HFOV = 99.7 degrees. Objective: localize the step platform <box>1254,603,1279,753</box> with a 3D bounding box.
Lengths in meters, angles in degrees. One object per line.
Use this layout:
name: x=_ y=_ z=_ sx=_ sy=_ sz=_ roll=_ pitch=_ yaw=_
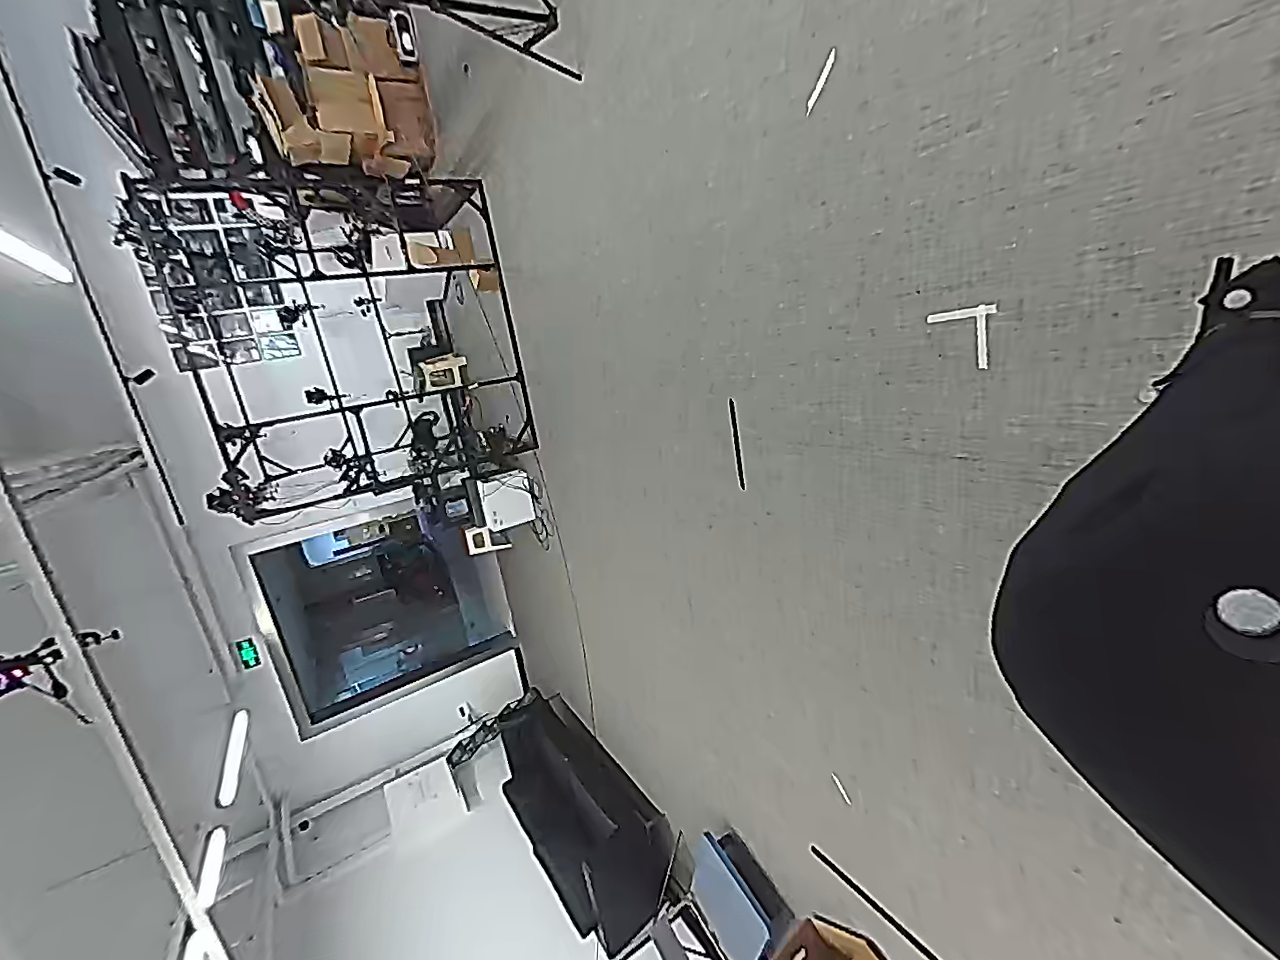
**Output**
step platform: x=1.347 y=0.378 z=0.731 sx=0.684 sy=0.204 sz=0.286 roll=14 pitch=117 yaw=59
